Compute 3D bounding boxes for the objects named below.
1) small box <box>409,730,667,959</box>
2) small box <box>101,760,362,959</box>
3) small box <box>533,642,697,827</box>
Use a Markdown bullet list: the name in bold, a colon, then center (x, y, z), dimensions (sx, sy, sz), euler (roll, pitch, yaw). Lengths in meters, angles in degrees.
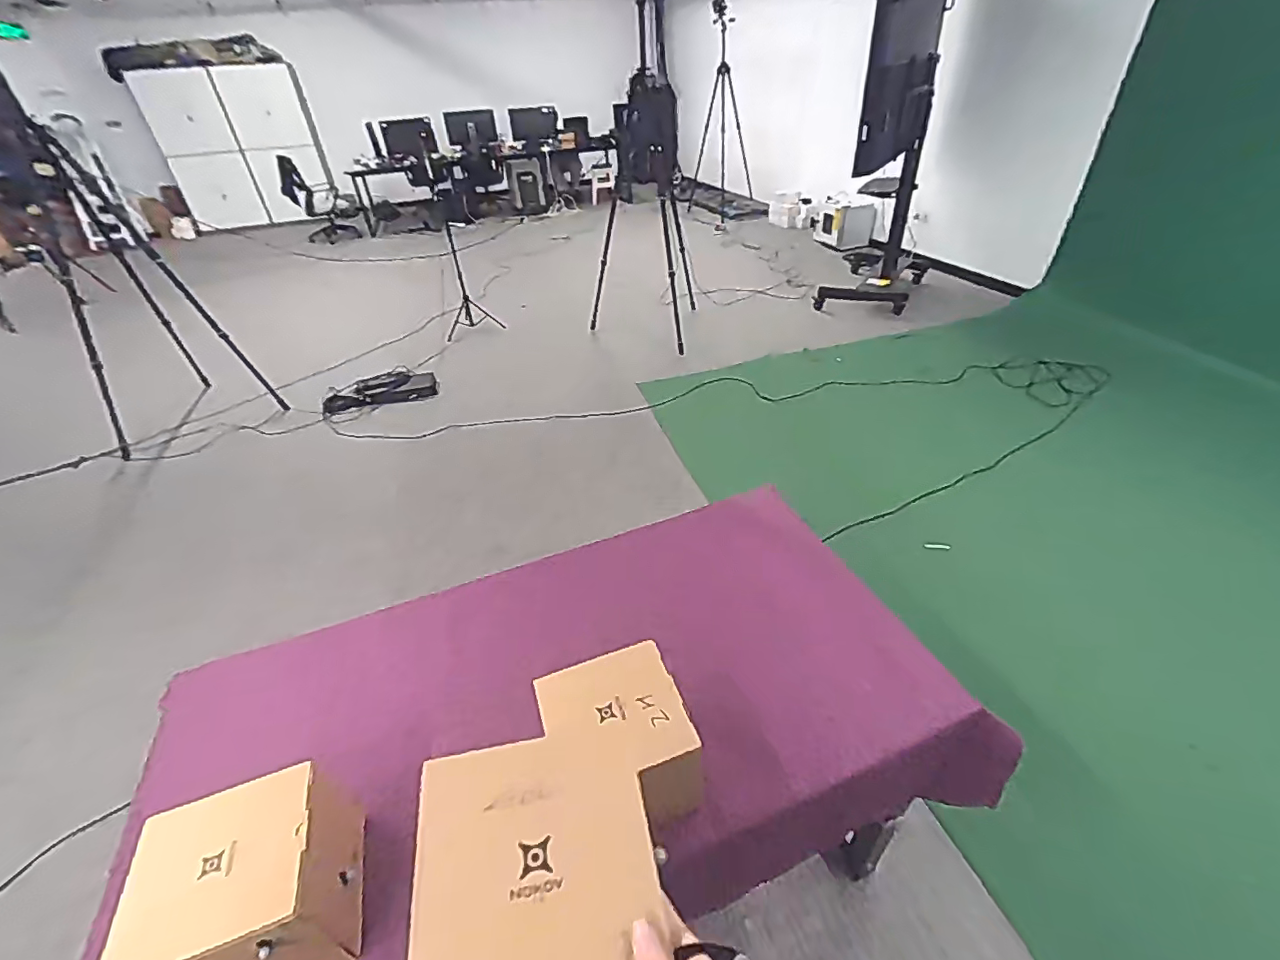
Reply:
- **small box**: center (-0.075, 0.336, 0.434), dimensions (0.168, 0.176, 0.179), euler (-6, 41, -10)
- **small box**: center (-0.444, 0.469, 0.621), dimensions (0.179, 0.176, 0.168), euler (-15, 38, -16)
- **small box**: center (-0.031, 0.357, 0.729), dimensions (0.179, 0.176, 0.168), euler (-14, 39, -14)
